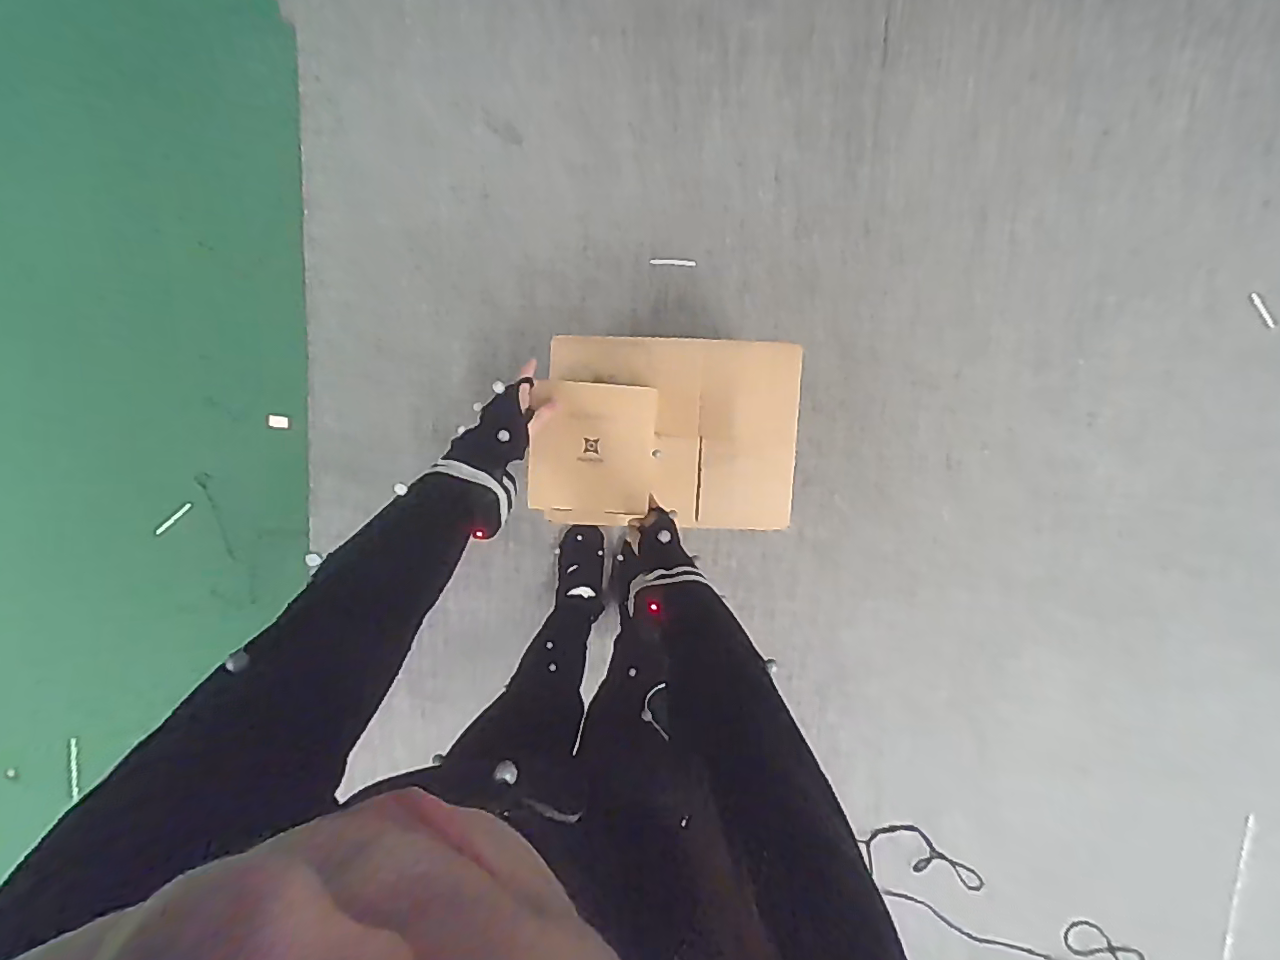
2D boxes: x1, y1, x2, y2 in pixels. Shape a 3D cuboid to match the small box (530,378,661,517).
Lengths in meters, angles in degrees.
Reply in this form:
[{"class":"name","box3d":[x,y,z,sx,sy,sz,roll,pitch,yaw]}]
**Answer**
[{"class":"small box","box3d":[-0.061,-0.053,0.792,0.168,0.176,0.179,4,98,-2]}]
